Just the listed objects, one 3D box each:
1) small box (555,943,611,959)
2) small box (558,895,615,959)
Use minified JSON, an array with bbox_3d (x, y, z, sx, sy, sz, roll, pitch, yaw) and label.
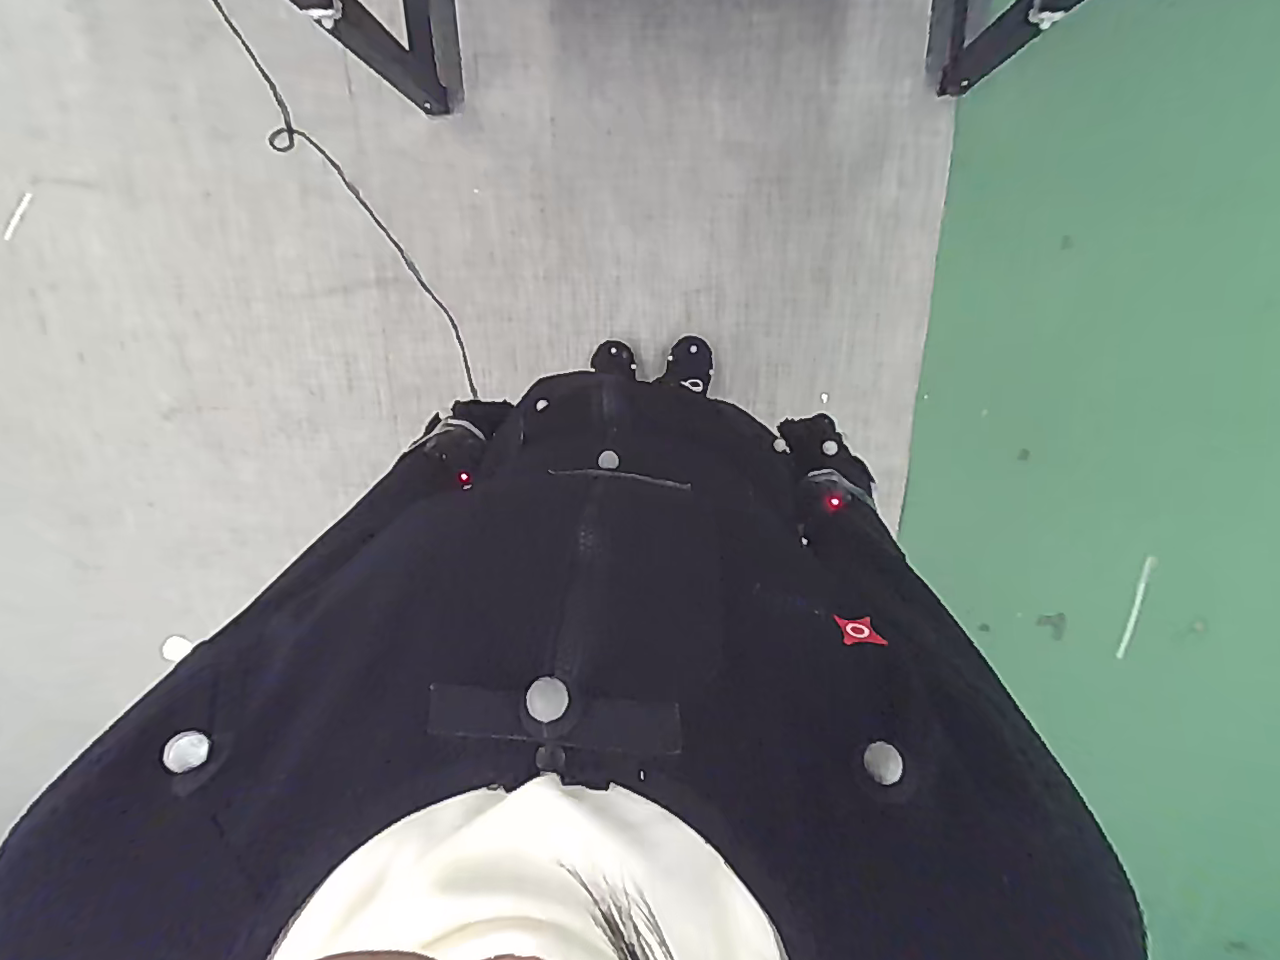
[{"bbox_3d":[-0.188,1.606,1.703,0.179,0.176,0.168,-1,105,3],"label":"small box"},{"bbox_3d":[-0.180,1.571,1.860,0.179,0.176,0.168,0,107,2],"label":"small box"}]
